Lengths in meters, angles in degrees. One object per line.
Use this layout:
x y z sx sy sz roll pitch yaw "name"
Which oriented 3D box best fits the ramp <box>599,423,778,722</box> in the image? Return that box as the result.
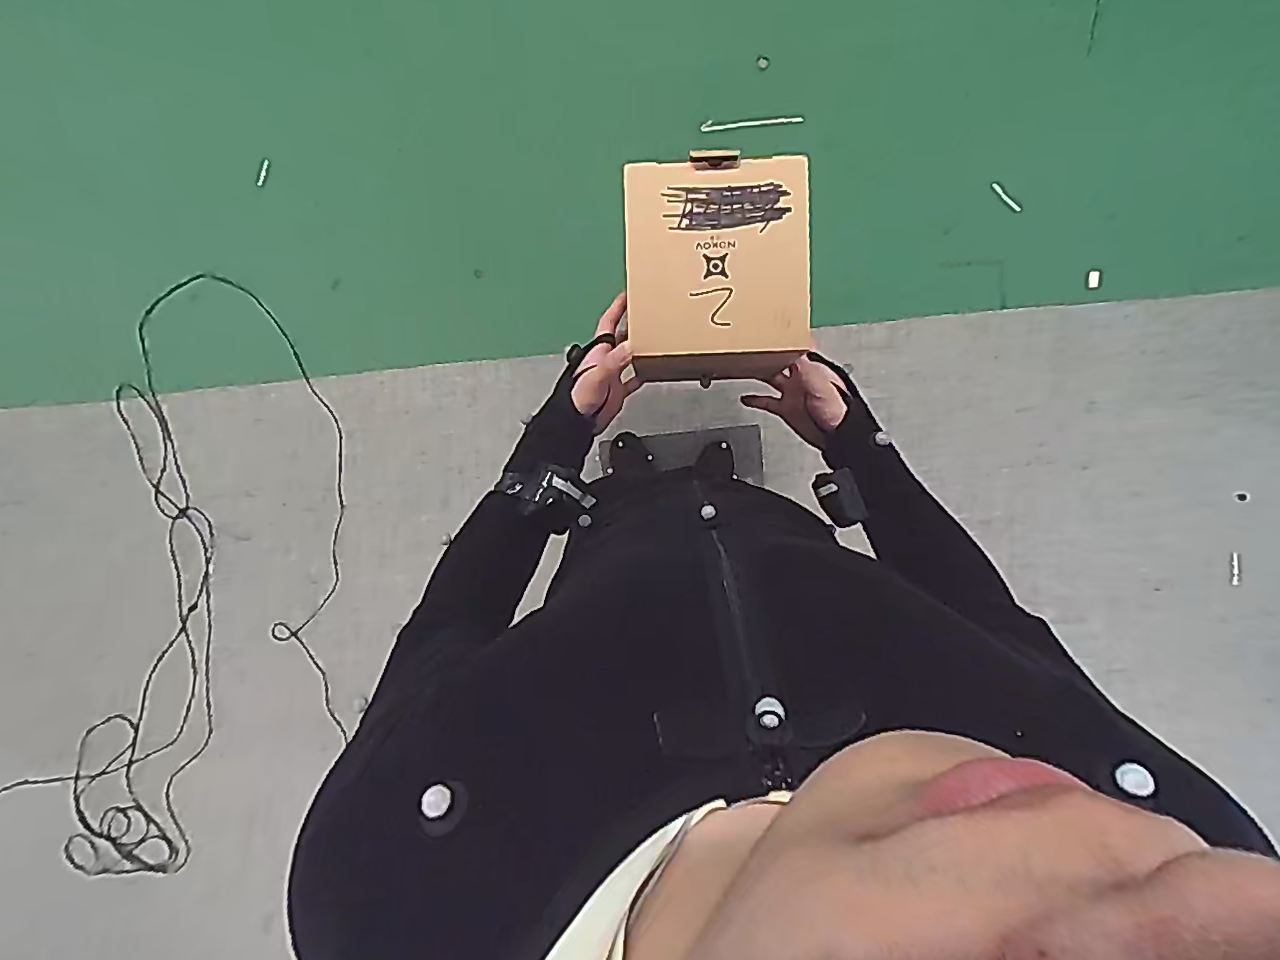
0.176 0.330 1.725 0.509 0.206 0.991 -7 95 3 "ramp"
